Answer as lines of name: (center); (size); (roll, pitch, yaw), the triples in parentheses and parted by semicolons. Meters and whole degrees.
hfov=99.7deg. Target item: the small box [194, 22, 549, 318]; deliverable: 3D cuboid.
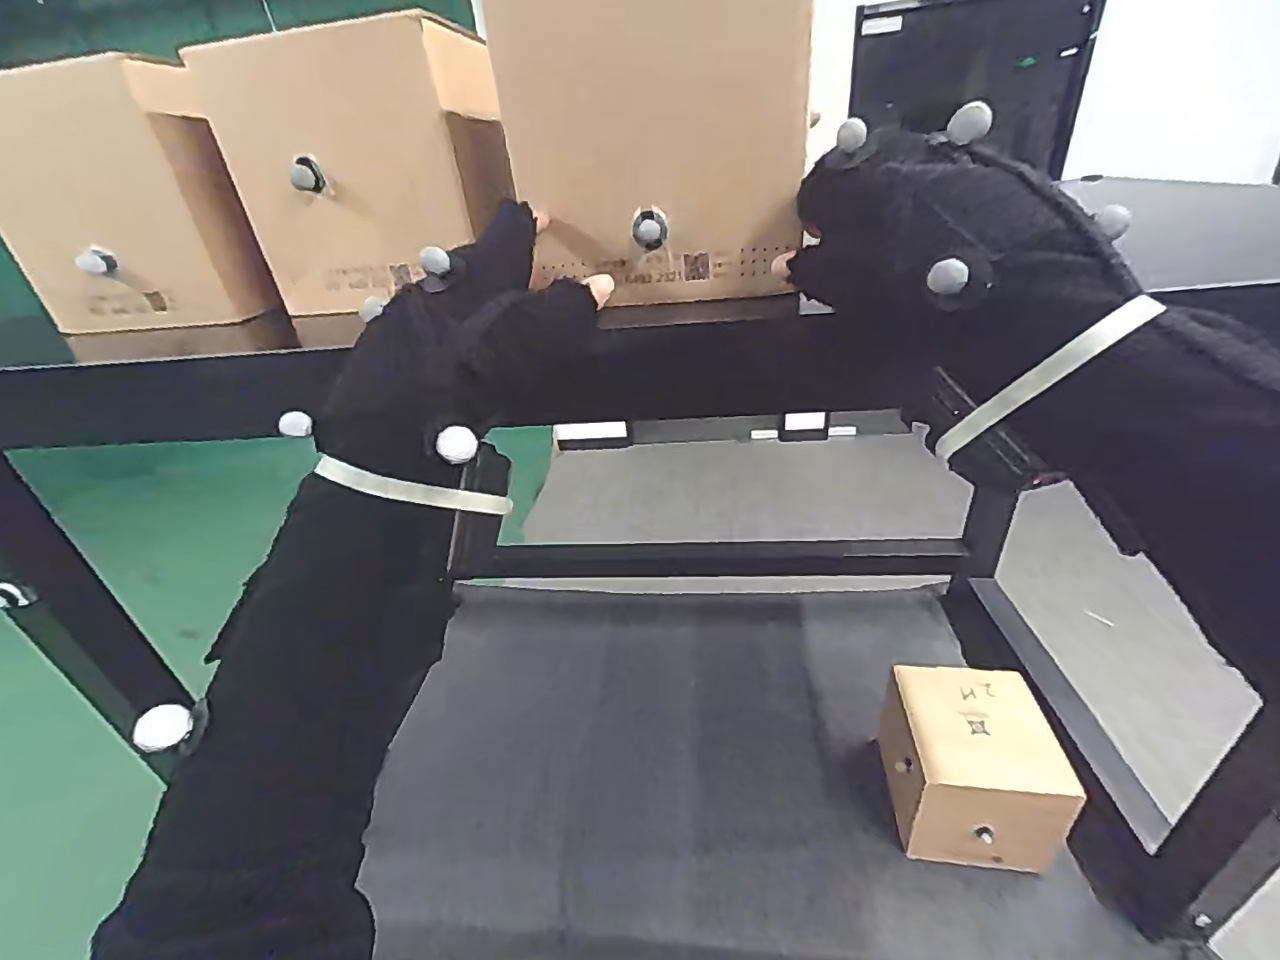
small box: (-0.184, -0.232, 0.438); (0.168, 0.176, 0.179); (-1, 30, 10)

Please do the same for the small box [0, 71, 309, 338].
small box: (-0.379, -0.227, 0.461); (0.168, 0.176, 0.179); (-1, 31, 9)

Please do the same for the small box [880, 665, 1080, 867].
small box: (0.432, 0.376, 0.721); (0.168, 0.176, 0.179); (0, 30, 11)
